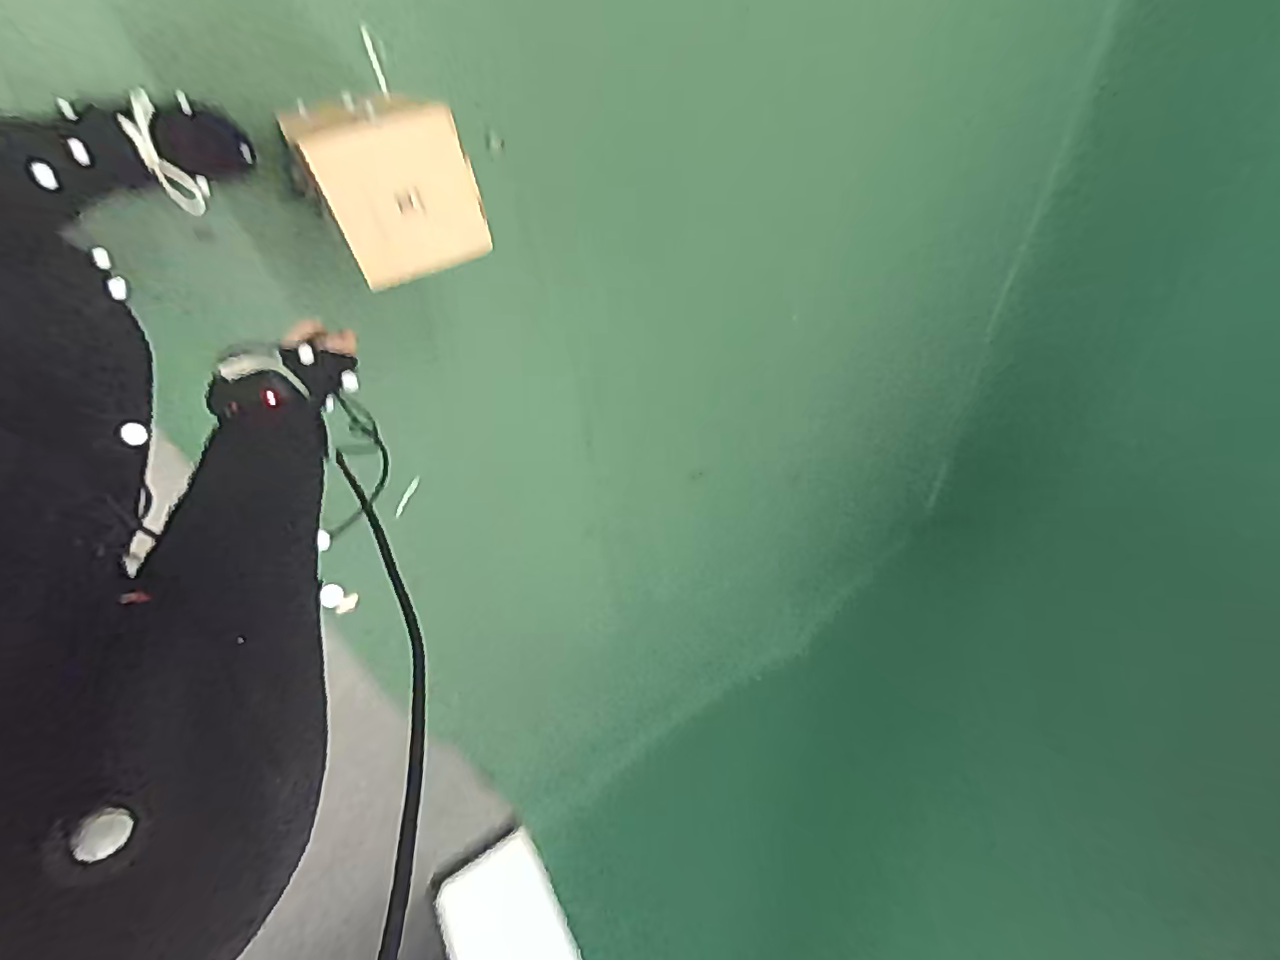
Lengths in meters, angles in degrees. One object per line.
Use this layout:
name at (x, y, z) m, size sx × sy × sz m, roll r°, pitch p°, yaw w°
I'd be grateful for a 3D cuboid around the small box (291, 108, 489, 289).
small box at (-0.334, -0.385, 0.727) m, size 0.179 × 0.176 × 0.168 m, roll -28°, pitch 134°, yaw -18°

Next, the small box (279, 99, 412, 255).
small box at (-0.423, -0.470, 0.833) m, size 0.179 × 0.176 × 0.168 m, roll -29°, pitch 135°, yaw -18°
